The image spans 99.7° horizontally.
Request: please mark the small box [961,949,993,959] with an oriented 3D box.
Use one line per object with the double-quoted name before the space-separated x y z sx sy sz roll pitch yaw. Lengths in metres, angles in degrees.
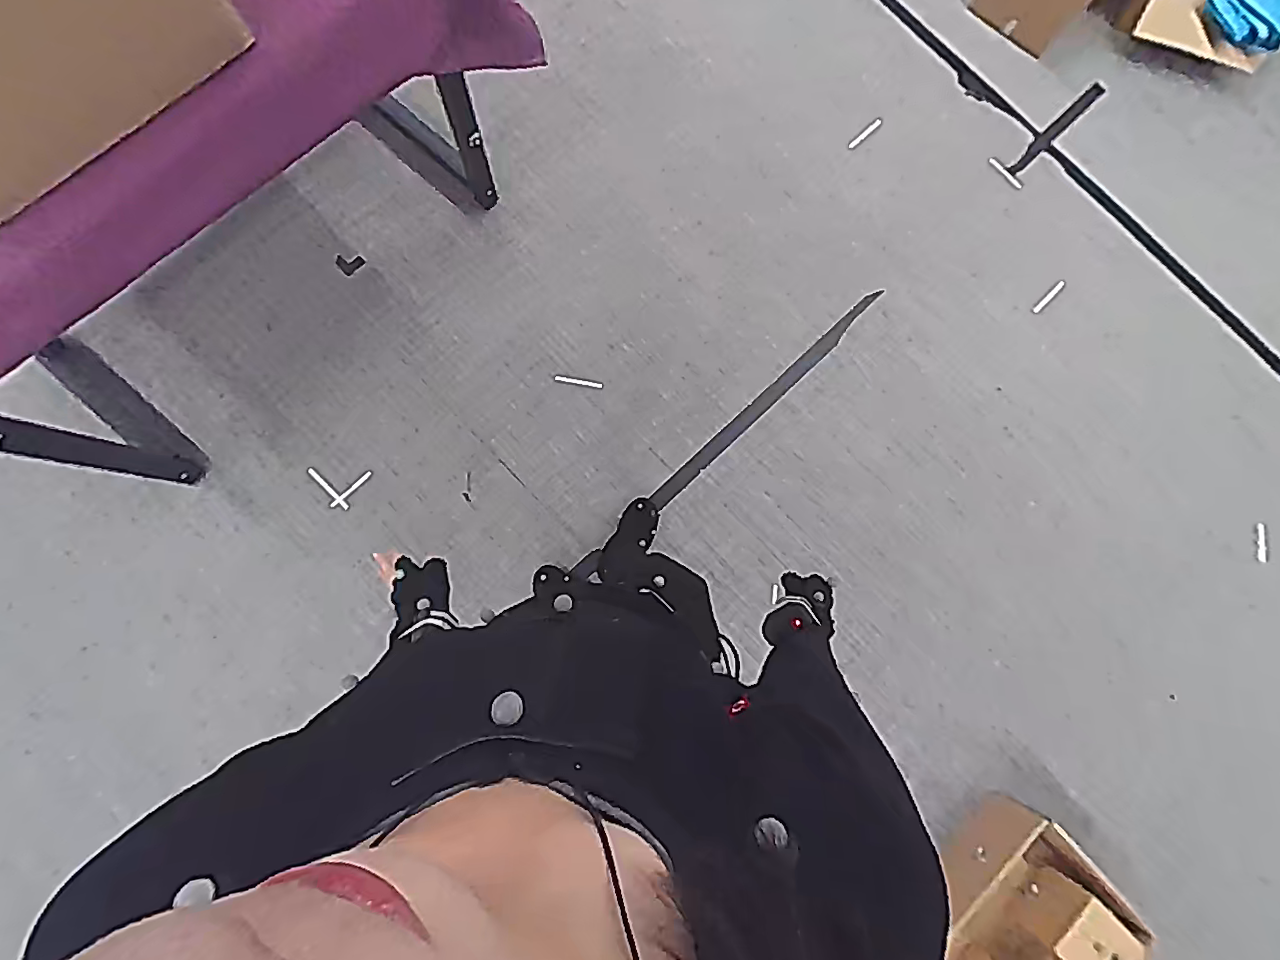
"small box" 0.881 1.314 1.326 0.168 0.176 0.179 -41 86 -12
